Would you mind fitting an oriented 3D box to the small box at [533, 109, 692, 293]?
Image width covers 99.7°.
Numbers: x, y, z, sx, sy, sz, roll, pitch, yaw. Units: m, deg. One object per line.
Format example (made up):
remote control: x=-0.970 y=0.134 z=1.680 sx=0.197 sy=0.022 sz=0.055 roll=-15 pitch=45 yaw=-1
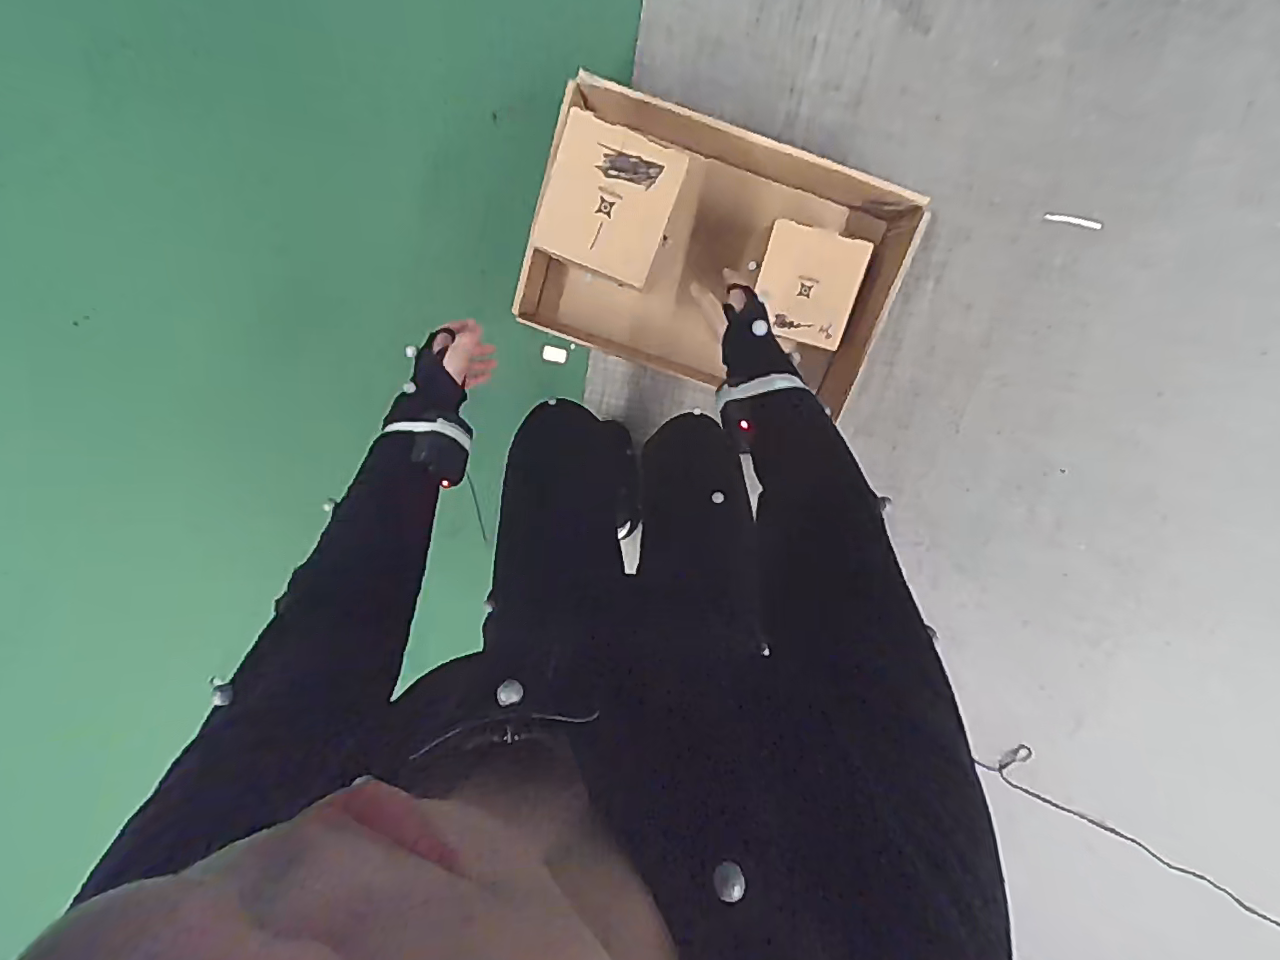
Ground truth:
small box: x=-0.038 y=-0.387 z=0.786 sx=0.168 sy=0.176 sz=0.179 roll=21 pitch=107 yaw=-5
